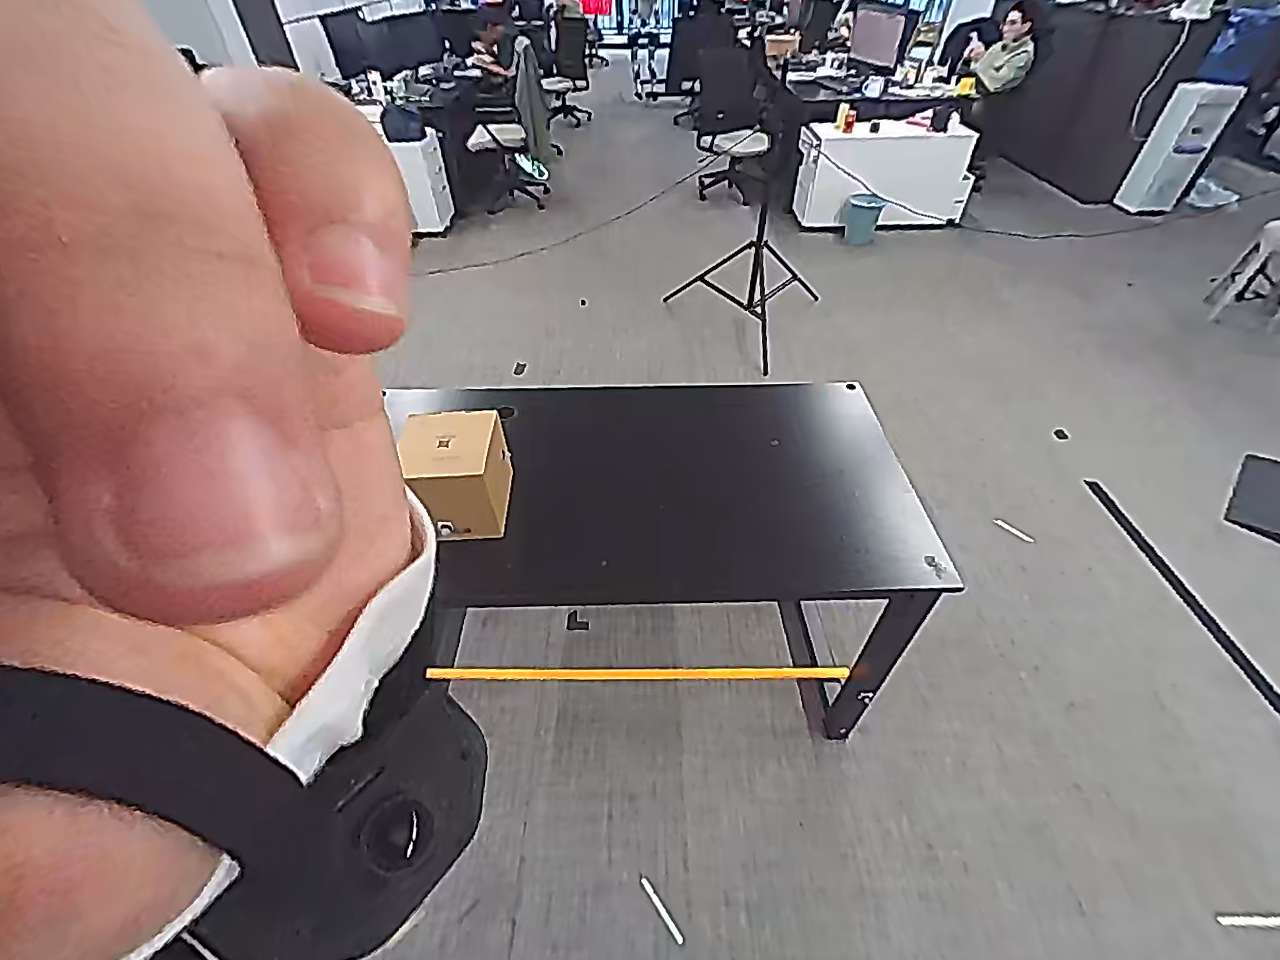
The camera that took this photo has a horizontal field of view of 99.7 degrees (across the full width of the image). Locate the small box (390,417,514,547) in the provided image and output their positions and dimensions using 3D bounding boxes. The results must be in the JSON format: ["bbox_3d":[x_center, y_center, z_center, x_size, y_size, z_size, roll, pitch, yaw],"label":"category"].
[{"bbox_3d":[-0.337,0.003,1.010,0.168,0.176,0.179,-4,45,-2],"label":"small box"}]
